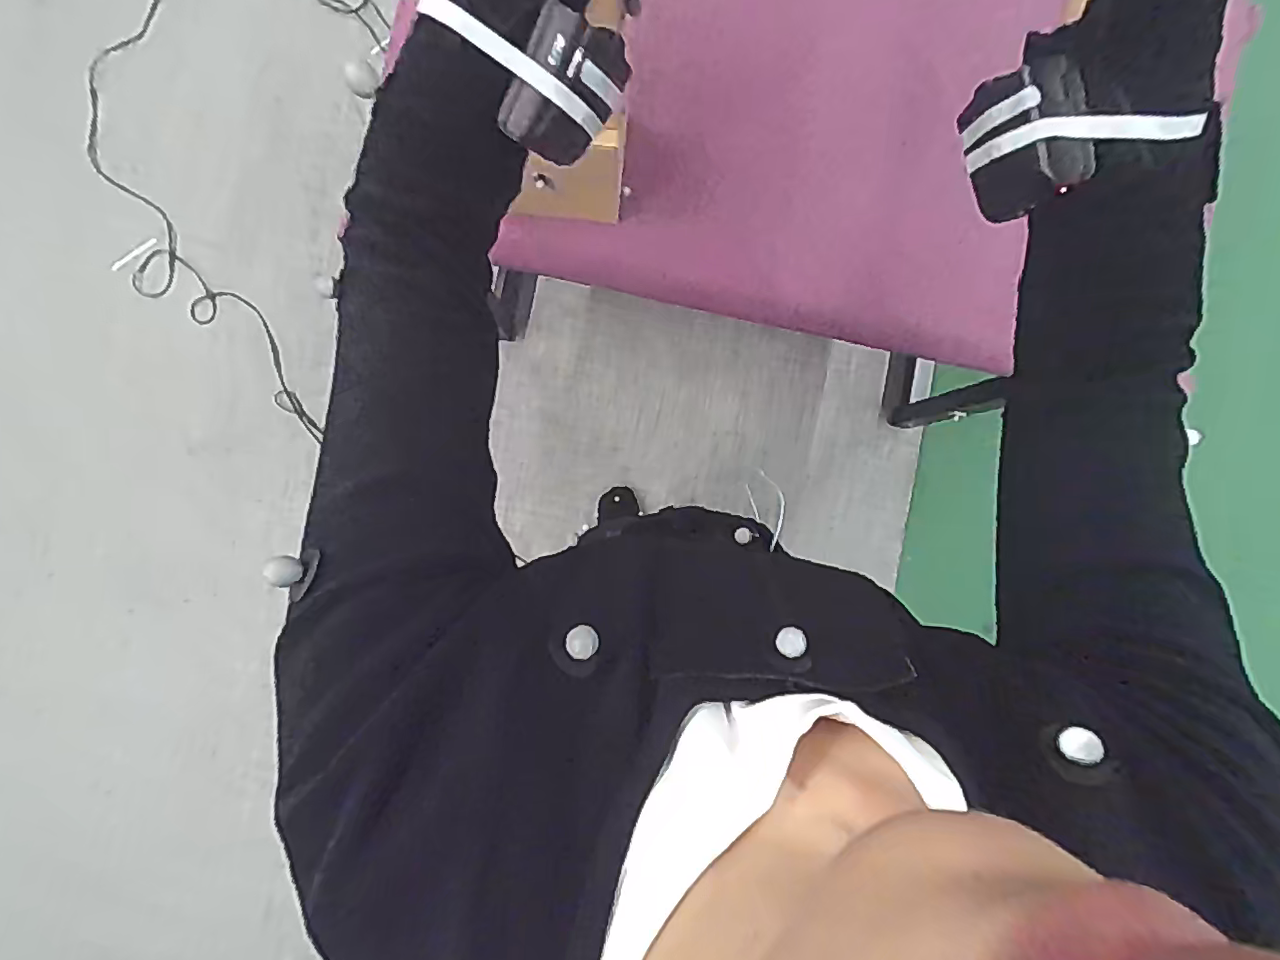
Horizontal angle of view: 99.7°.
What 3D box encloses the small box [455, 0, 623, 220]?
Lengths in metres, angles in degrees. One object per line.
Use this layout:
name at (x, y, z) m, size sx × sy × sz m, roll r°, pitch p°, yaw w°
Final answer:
small box at (-0.118, -0.455, 0.686) m, size 0.179 × 0.176 × 0.168 m, roll 5°, pitch 87°, yaw -3°
